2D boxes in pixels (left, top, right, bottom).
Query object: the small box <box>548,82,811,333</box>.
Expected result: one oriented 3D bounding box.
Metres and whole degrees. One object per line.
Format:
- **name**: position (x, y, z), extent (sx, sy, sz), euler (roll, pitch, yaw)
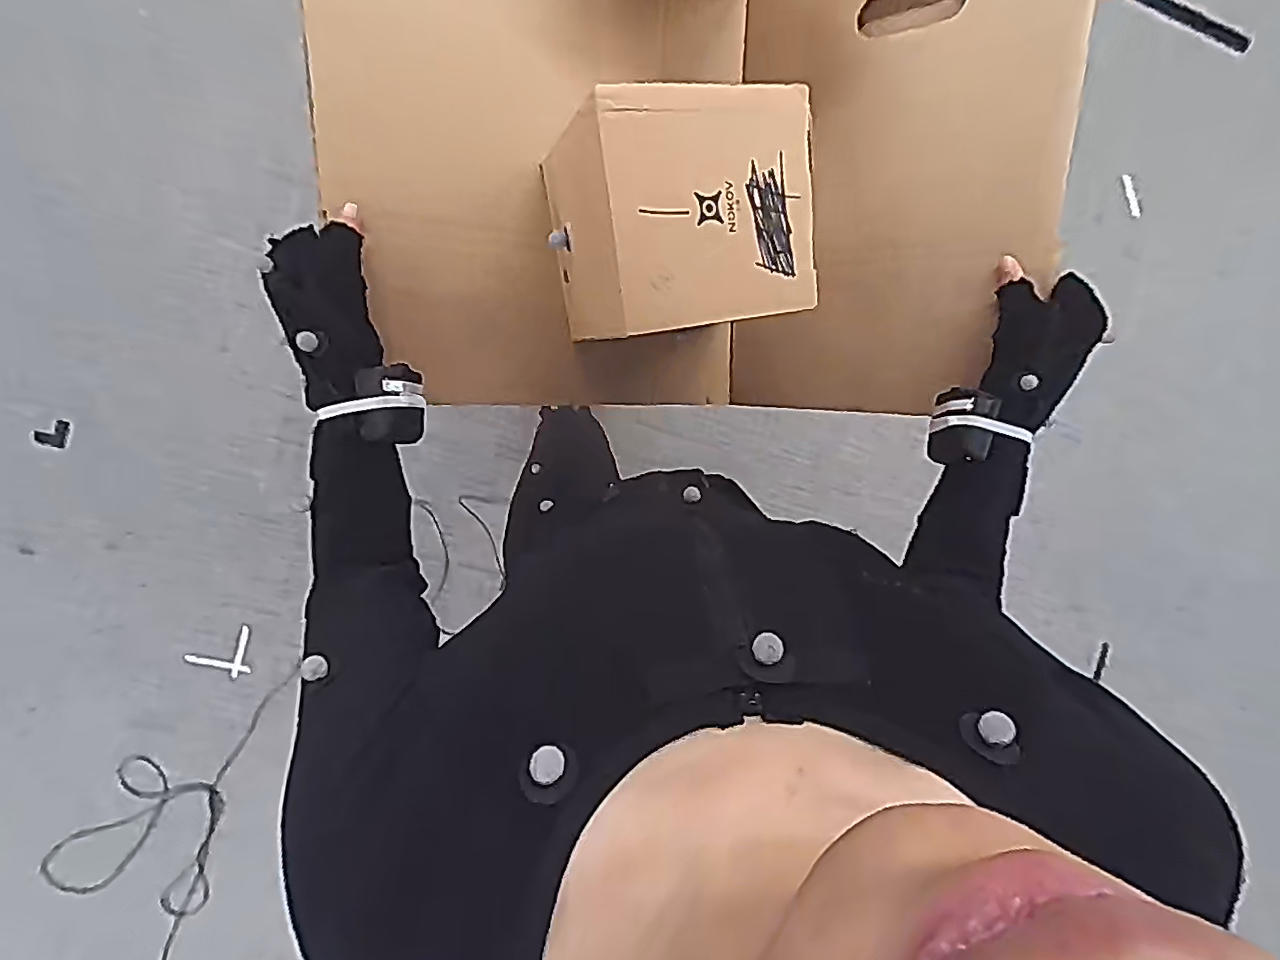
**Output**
- **small box**: position (0.030, -0.228, 0.490), extent (0.179, 0.176, 0.168), euler (-13, 106, -18)
